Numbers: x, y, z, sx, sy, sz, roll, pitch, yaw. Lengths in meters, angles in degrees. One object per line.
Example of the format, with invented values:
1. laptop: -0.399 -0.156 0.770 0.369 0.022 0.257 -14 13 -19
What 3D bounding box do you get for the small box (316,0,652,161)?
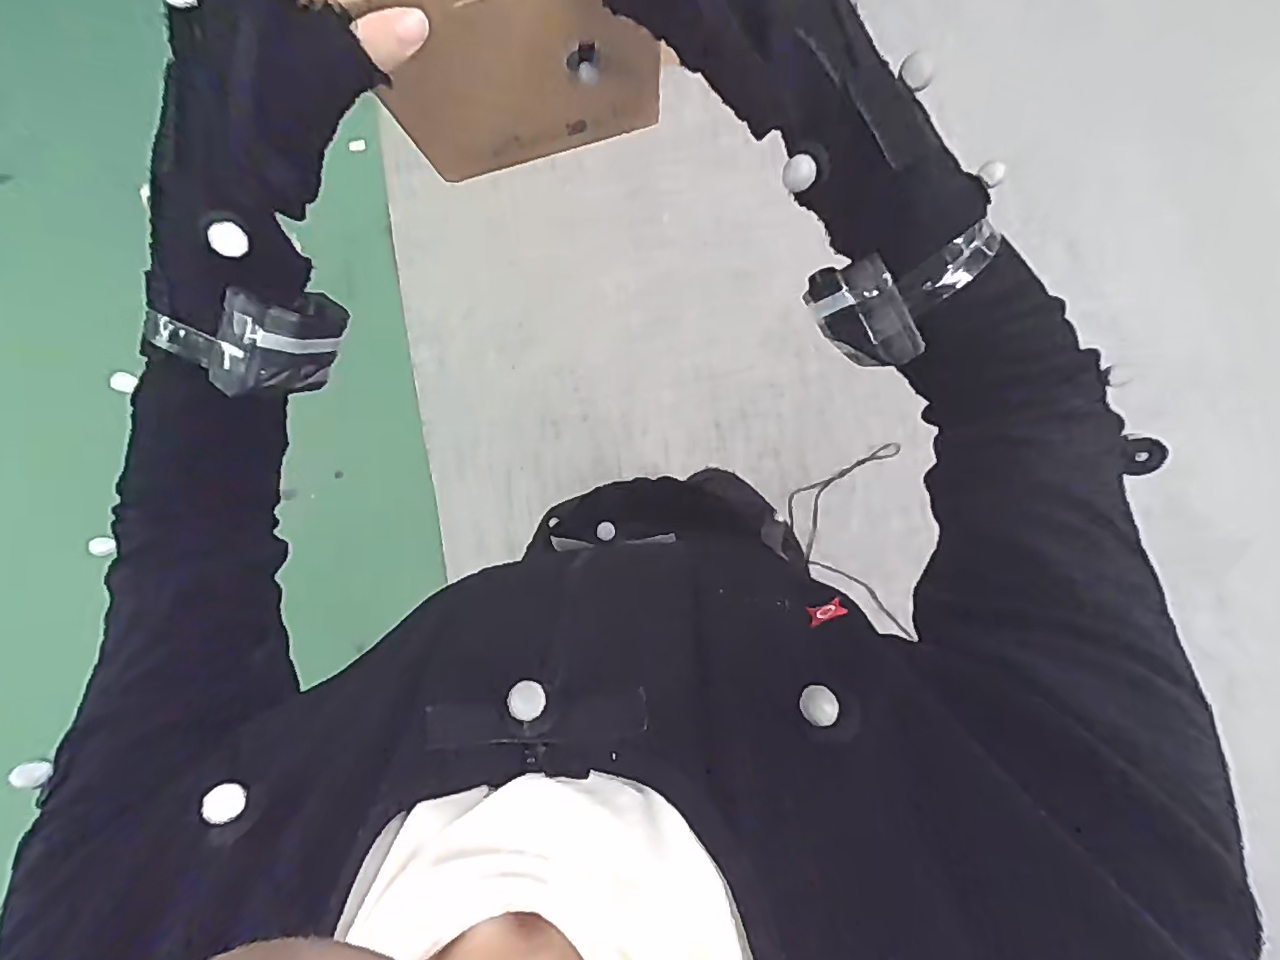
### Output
1. small box: -0.089 -0.323 0.322 0.168 0.176 0.179 -14 93 2
